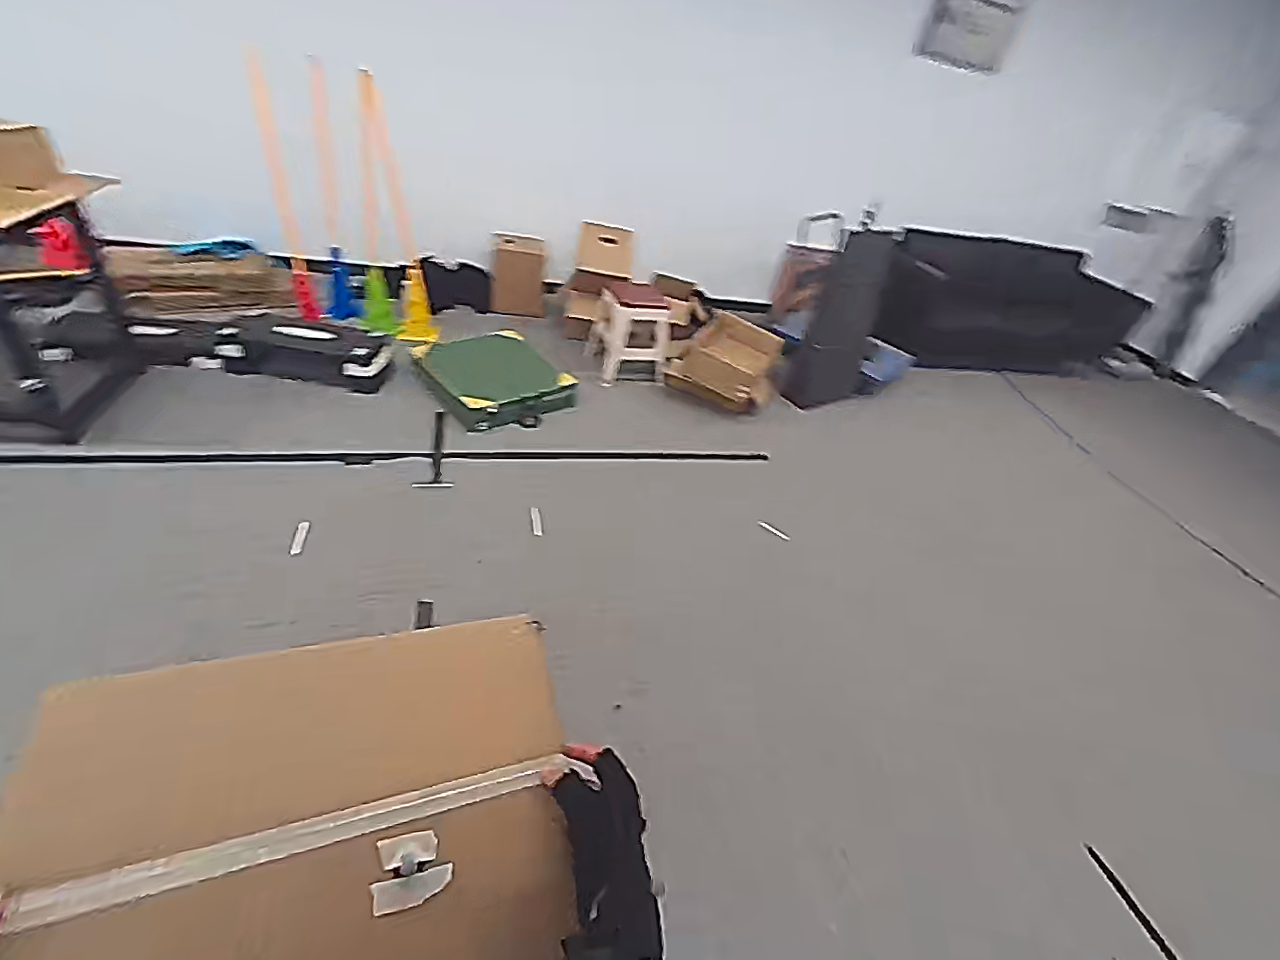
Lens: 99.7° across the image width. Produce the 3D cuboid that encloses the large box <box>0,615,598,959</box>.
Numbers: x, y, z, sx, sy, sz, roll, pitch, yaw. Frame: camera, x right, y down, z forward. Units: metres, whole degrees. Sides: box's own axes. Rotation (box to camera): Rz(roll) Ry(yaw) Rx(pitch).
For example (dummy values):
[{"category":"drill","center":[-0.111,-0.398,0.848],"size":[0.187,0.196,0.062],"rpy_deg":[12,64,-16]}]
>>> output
[{"category":"large box","center":[-0.298,0.375,0.565],"size":[0.408,0.320,0.320],"rpy_deg":[-3,55,-22]}]
